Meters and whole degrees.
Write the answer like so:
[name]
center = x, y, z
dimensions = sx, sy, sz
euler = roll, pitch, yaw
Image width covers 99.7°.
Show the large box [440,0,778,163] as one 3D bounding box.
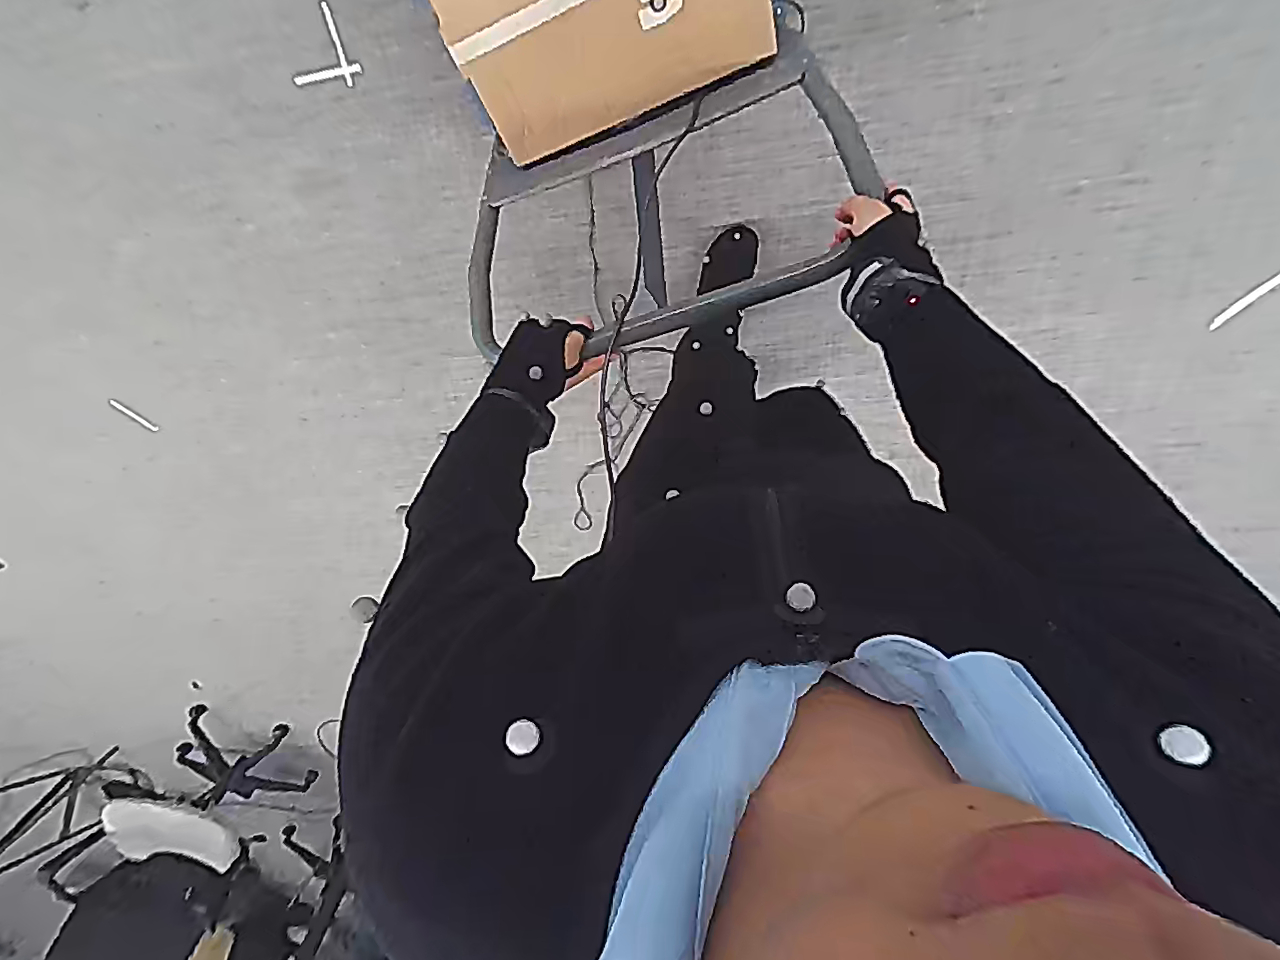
[large box]
center = -0.059, -0.741, 0.769
dimensions = 0.408, 0.320, 0.320
euler = -16, 140, 14
